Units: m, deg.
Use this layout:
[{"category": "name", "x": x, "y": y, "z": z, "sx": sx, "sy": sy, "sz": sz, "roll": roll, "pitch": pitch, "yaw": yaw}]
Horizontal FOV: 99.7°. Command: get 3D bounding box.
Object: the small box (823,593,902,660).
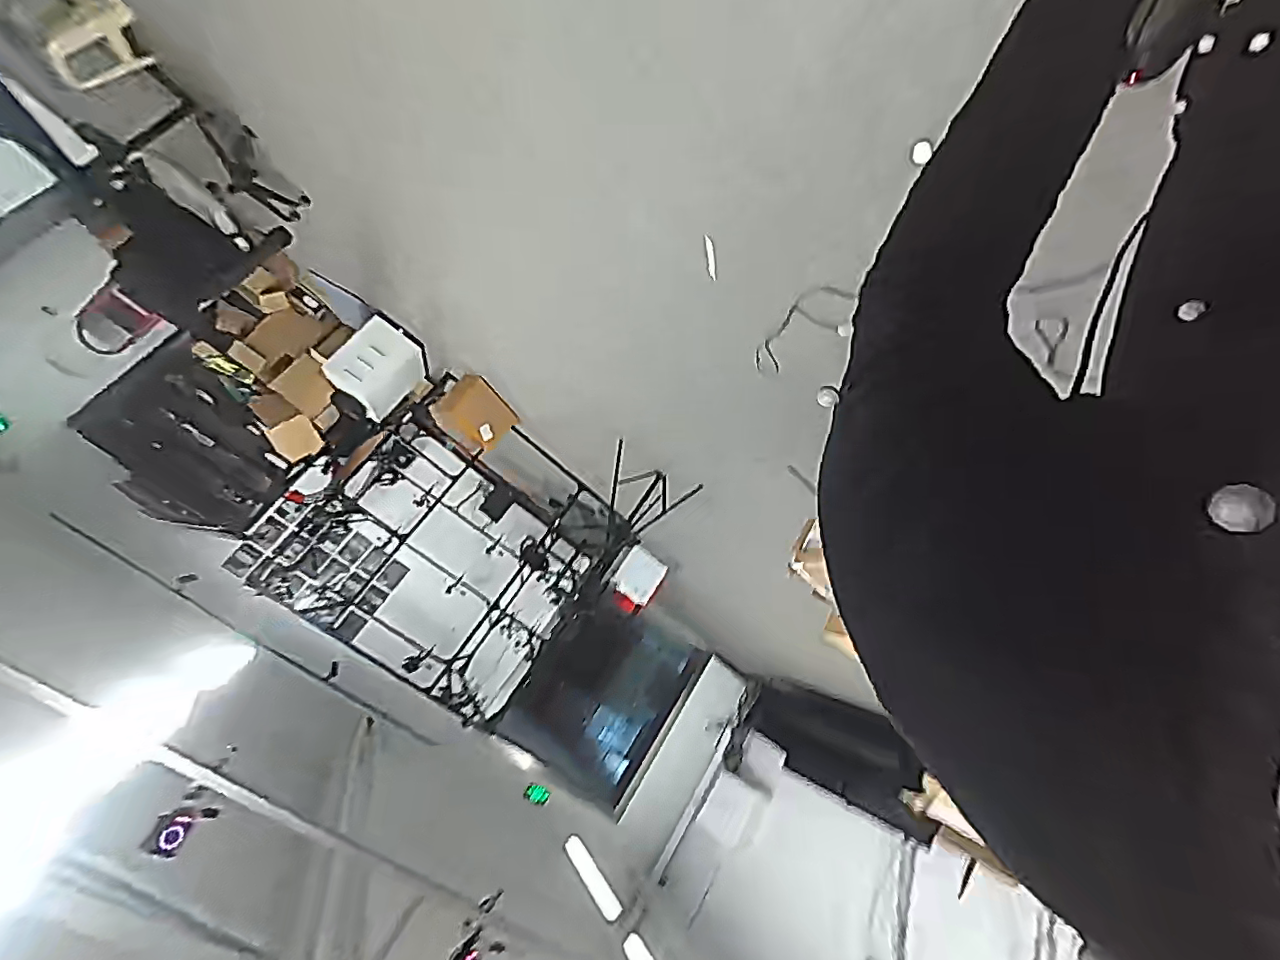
[{"category": "small box", "x": 0.799, "y": 0.517, "z": 1.933, "sx": 0.168, "sy": 0.176, "sz": 0.179, "roll": 40, "pitch": 156, "yaw": -16}]
